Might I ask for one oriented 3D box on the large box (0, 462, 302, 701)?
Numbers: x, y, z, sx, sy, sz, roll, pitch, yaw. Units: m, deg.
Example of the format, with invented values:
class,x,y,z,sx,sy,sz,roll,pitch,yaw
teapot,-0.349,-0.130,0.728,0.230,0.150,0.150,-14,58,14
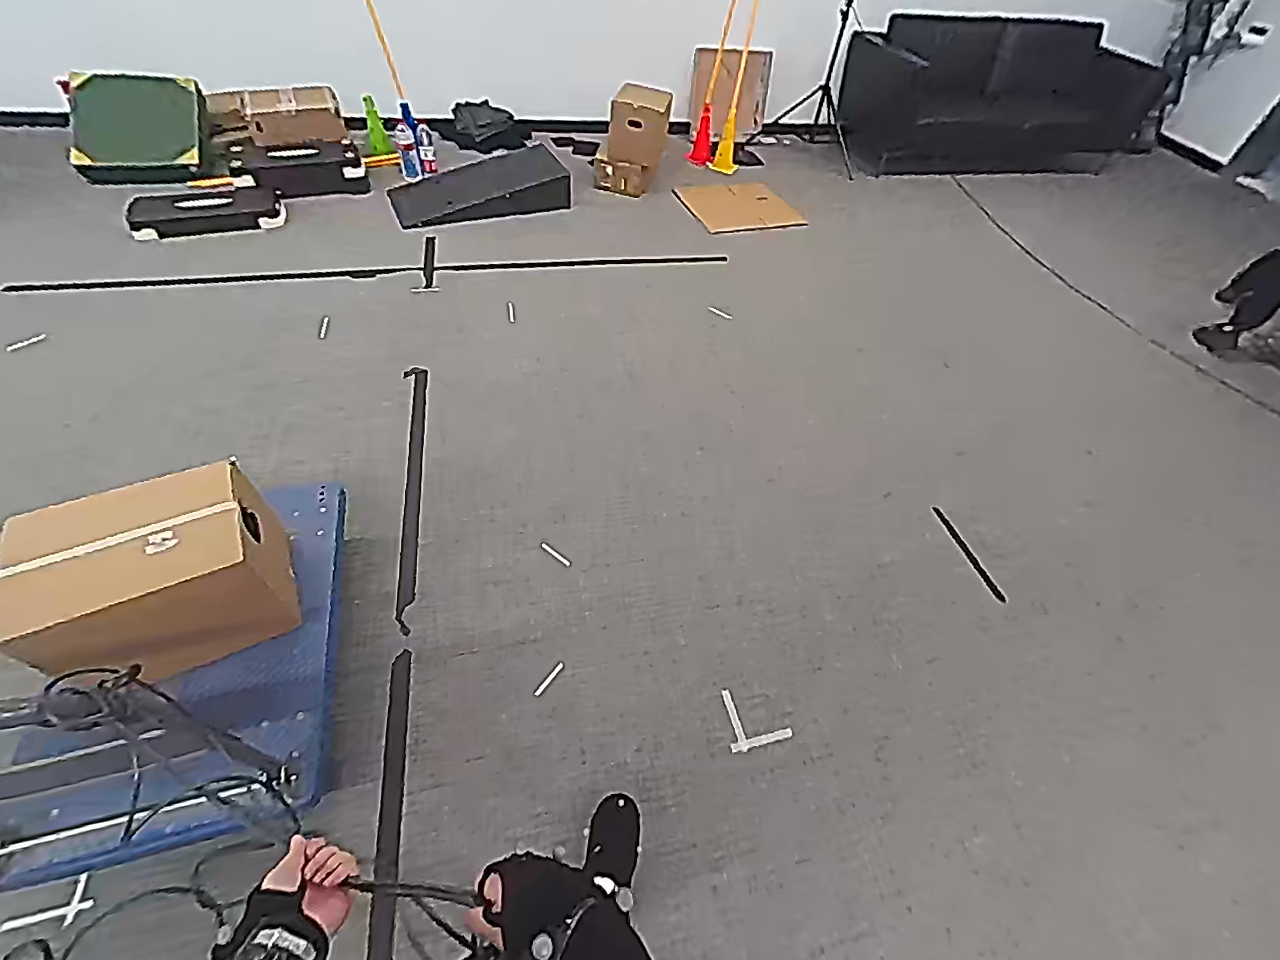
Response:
class,x,y,z,sx,sy,sz,roll,pitch,yaw
large box,-1.057,0.222,1.218,0.408,0.320,0.320,-20,55,-23
